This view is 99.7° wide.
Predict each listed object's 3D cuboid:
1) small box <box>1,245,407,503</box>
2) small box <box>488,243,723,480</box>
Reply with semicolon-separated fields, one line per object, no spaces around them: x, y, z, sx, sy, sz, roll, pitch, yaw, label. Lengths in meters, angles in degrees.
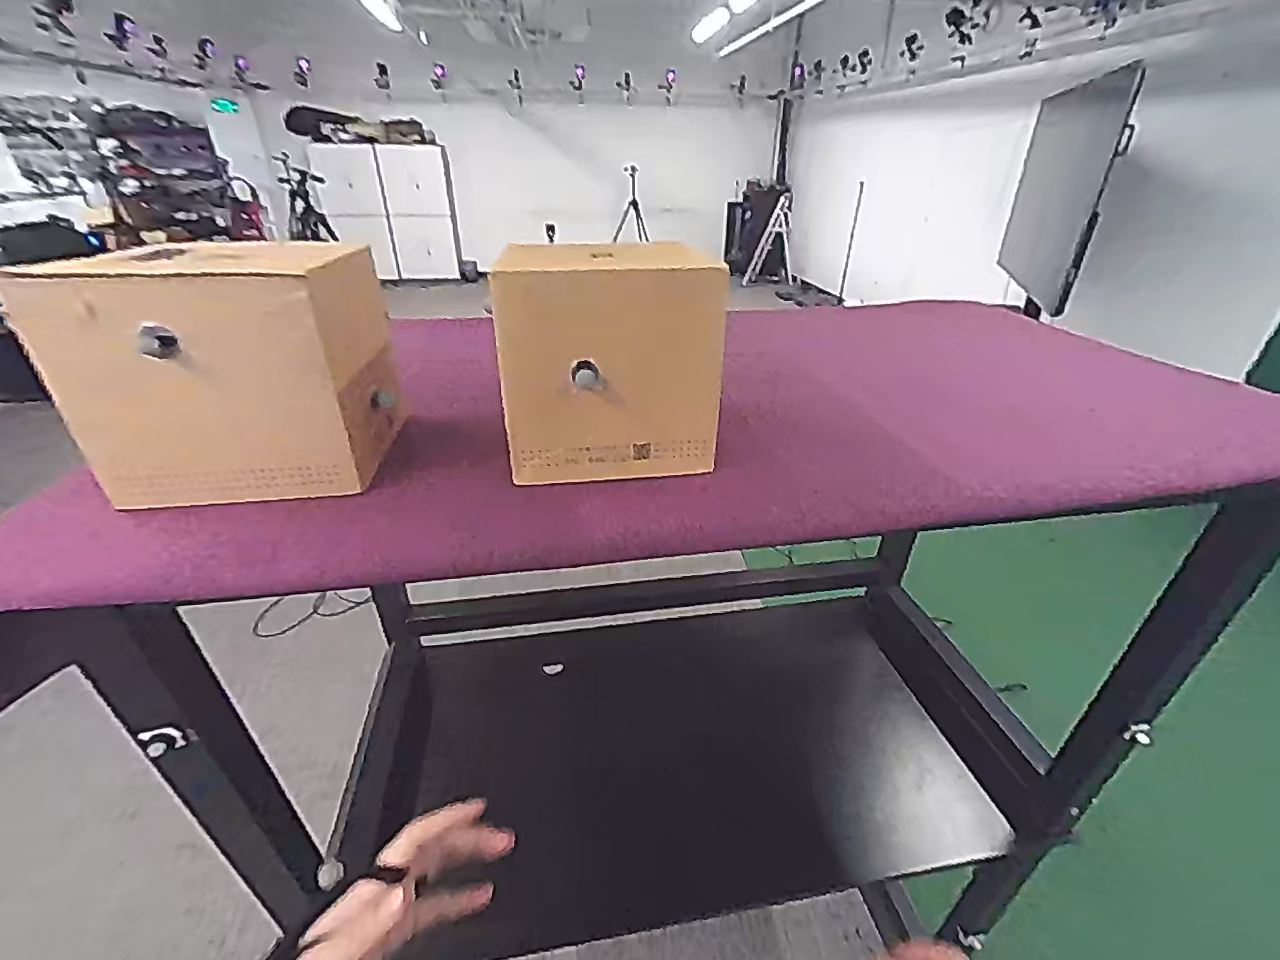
-0.311;-0.092;0.441;0.179;0.176;0.168;-4;30;-8;small box
-0.031;-0.107;0.477;0.168;0.176;0.179;-4;29;-8;small box
